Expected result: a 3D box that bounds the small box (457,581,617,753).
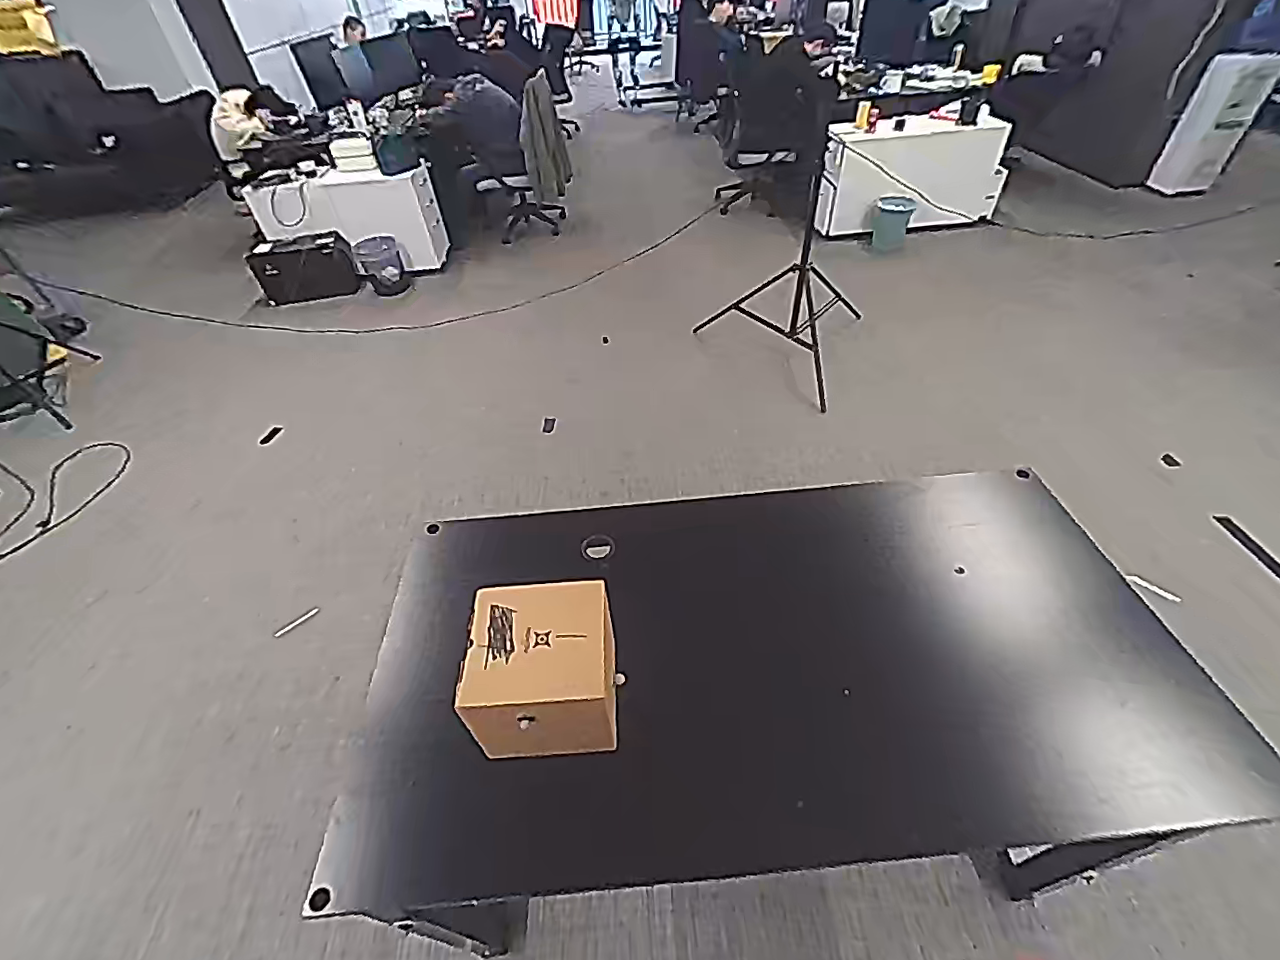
[{"bbox_3d":[-0.127,0.258,0.741,0.179,0.176,0.168,-4,44,0],"label":"small box"}]
